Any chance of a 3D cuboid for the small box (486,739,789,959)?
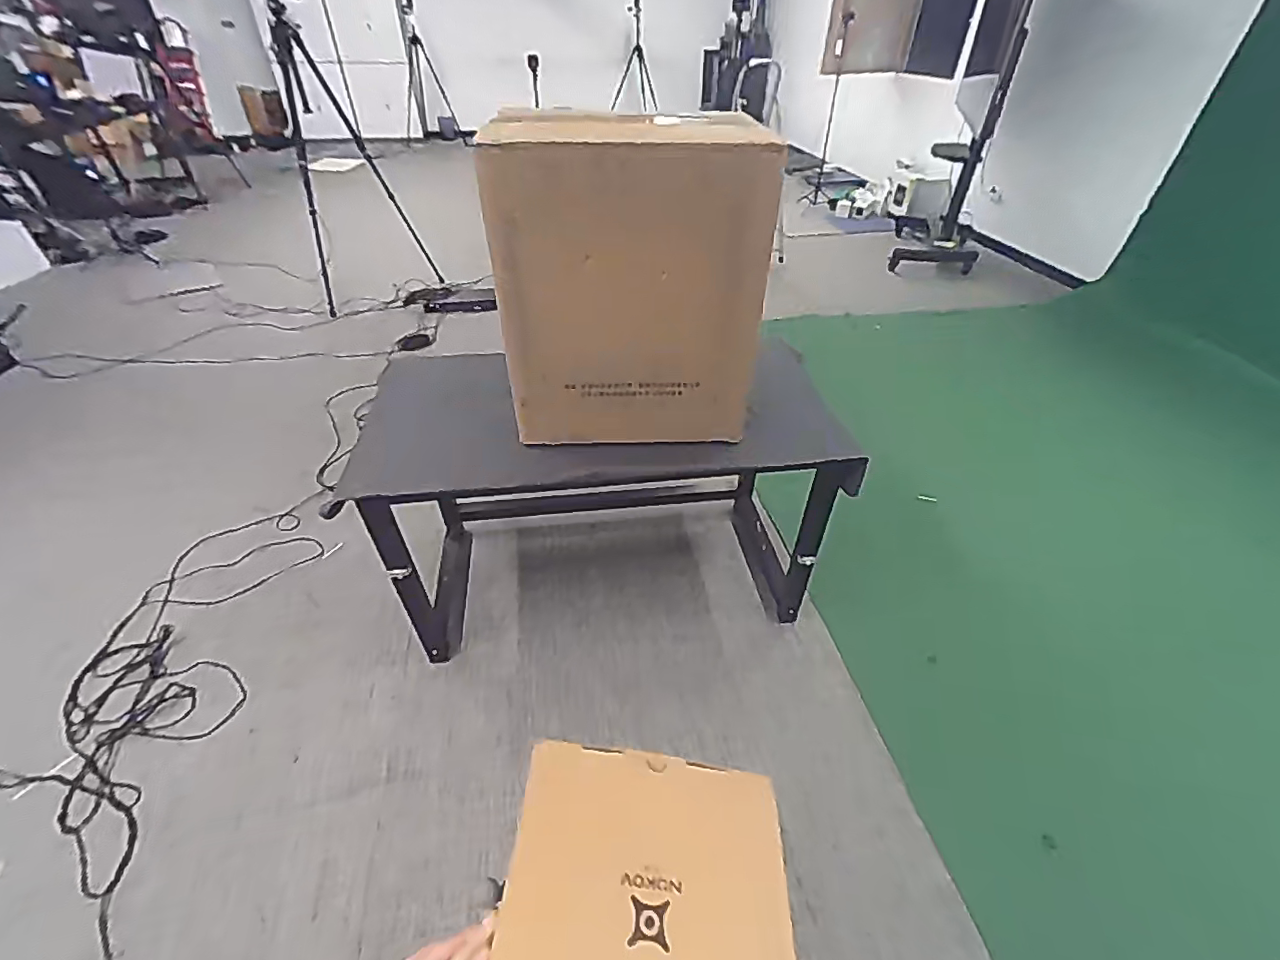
[{"bbox_3d":[-0.010,0.306,0.352,0.168,0.176,0.179,11,35,-3],"label":"small box"}]
